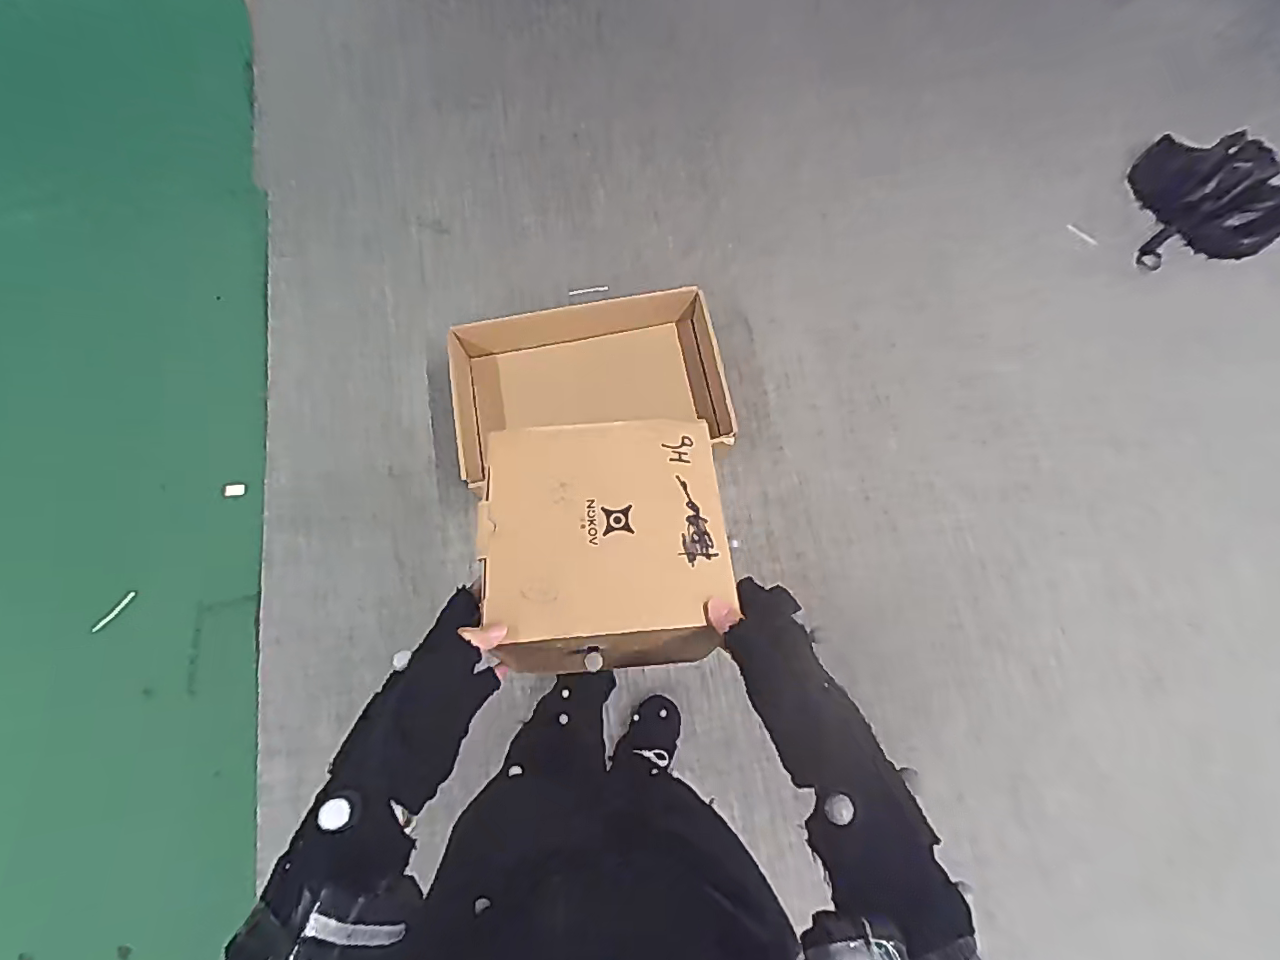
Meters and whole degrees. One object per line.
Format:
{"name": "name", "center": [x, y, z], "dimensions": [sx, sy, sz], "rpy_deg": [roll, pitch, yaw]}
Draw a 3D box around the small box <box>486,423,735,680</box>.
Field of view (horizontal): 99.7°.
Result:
{"name": "small box", "center": [-0.030, 0.071, 0.479], "dimensions": [0.179, 0.176, 0.168], "rpy_deg": [-6, 61, -6]}
